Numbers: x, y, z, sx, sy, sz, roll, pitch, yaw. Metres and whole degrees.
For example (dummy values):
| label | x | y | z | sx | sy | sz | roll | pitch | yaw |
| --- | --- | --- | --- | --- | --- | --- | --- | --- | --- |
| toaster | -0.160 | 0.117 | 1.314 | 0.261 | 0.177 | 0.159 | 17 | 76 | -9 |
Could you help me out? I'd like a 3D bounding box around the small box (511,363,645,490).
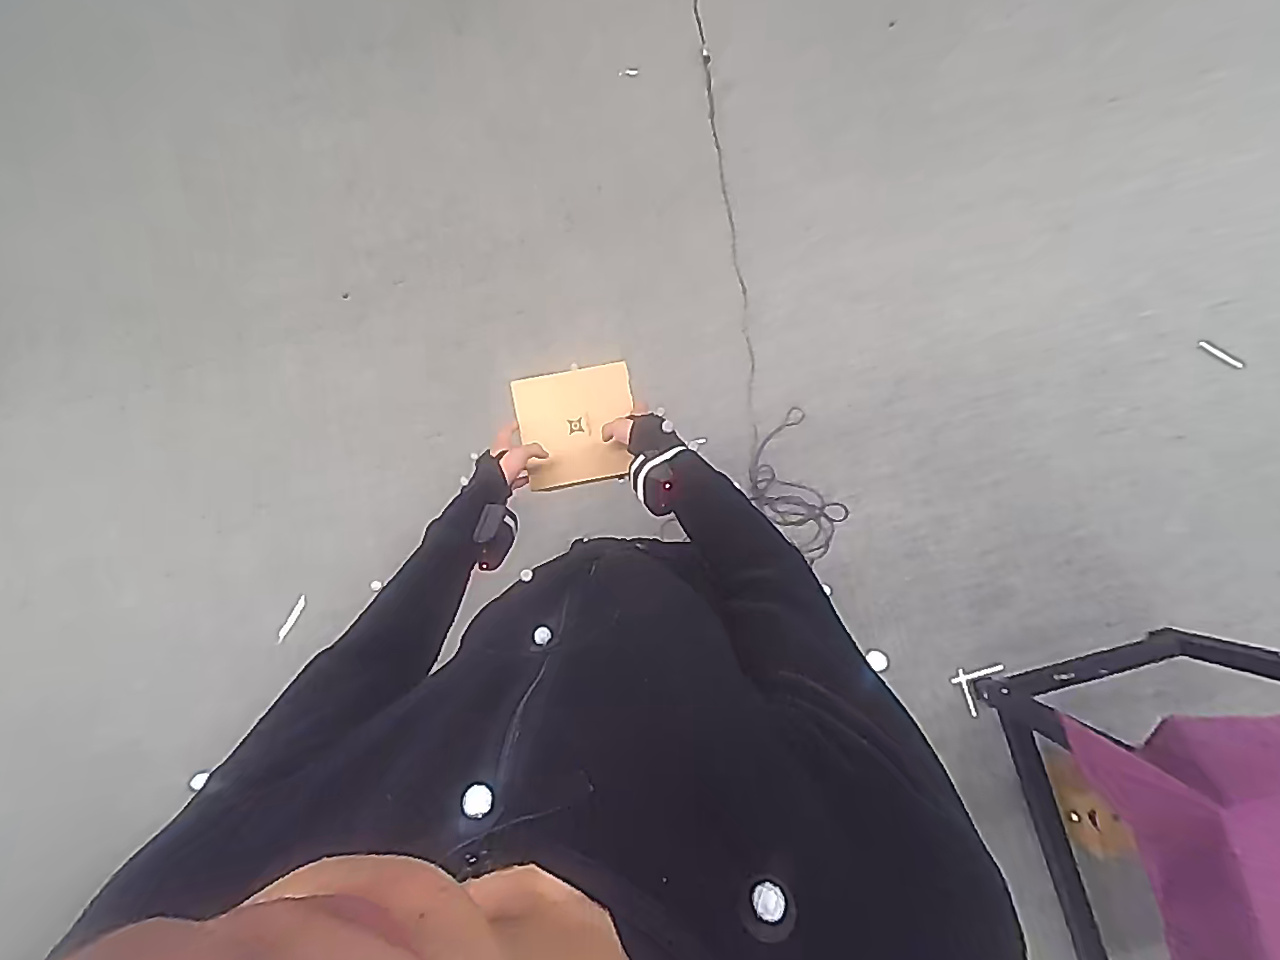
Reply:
| label | x | y | z | sx | sy | sz | roll | pitch | yaw |
| --- | --- | --- | --- | --- | --- | --- | --- | --- | --- |
| small box | -0.091 | -0.077 | 0.868 | 0.179 | 0.176 | 0.168 | -11 | 90 | -2 |
